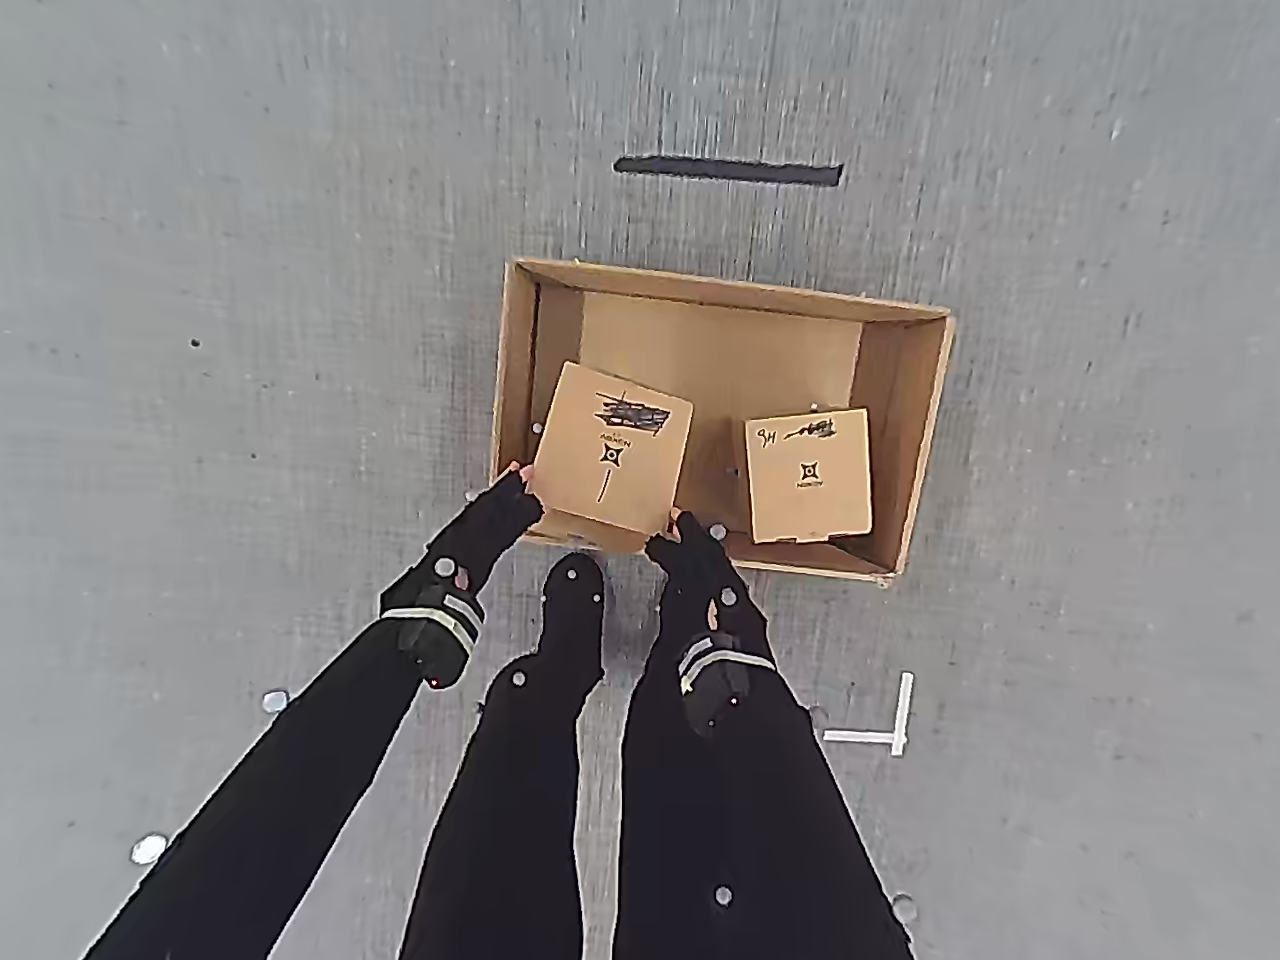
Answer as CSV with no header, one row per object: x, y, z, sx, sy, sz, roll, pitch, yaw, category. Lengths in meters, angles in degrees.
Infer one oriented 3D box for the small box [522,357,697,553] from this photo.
-0.046,-0.020,0.685,0.168,0.176,0.179,17,71,-11,small box
